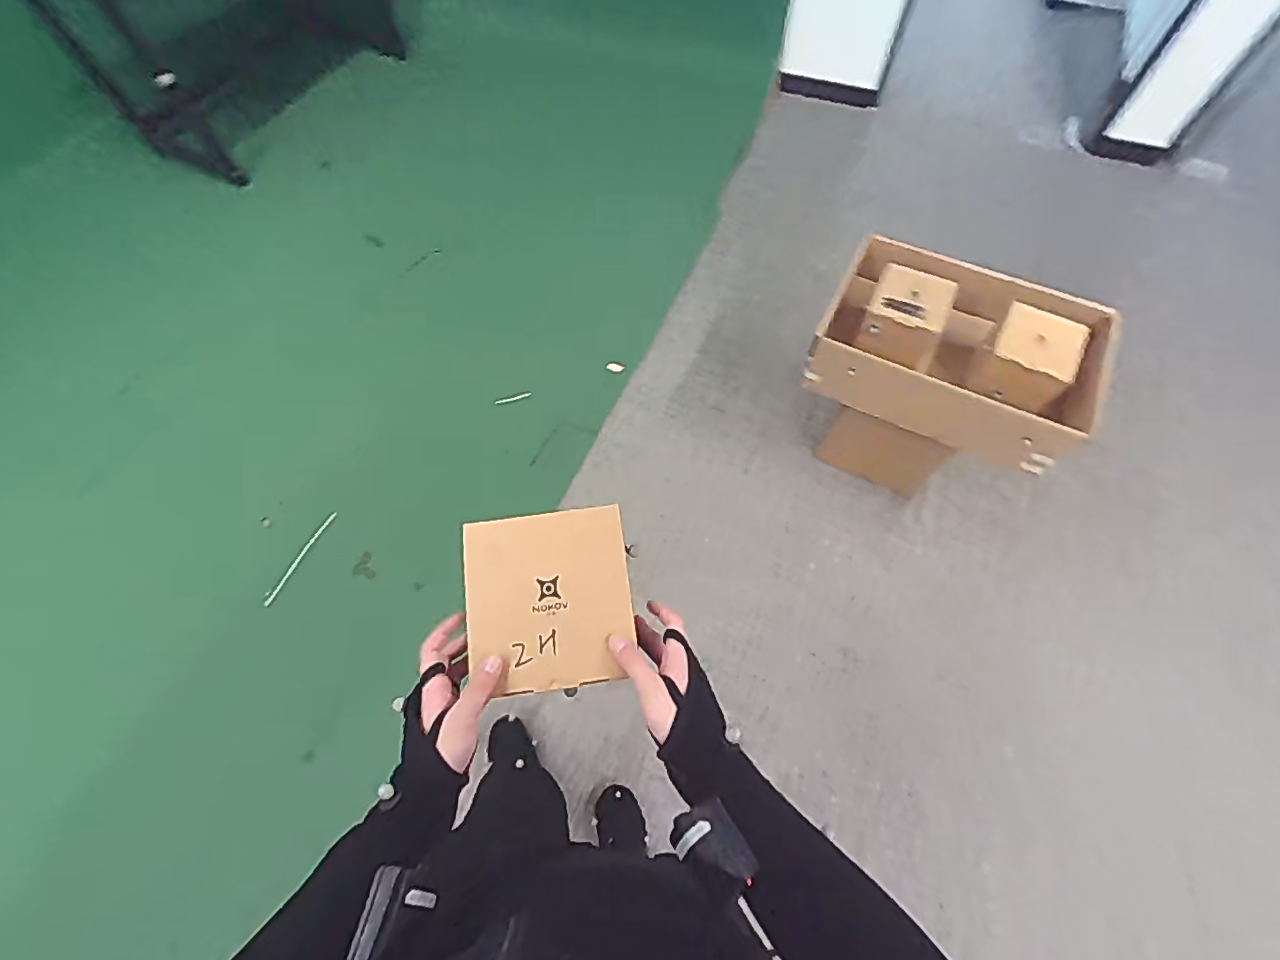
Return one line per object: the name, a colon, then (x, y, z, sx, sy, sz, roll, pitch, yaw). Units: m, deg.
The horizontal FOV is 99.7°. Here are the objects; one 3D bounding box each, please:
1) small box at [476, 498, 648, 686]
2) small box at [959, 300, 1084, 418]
small box: (-0.083, 0.131, 0.617, 0.168, 0.176, 0.179, -6, 73, -2)
small box: (0.896, -0.283, 1.284, 0.168, 0.176, 0.179, 27, 69, 14)
